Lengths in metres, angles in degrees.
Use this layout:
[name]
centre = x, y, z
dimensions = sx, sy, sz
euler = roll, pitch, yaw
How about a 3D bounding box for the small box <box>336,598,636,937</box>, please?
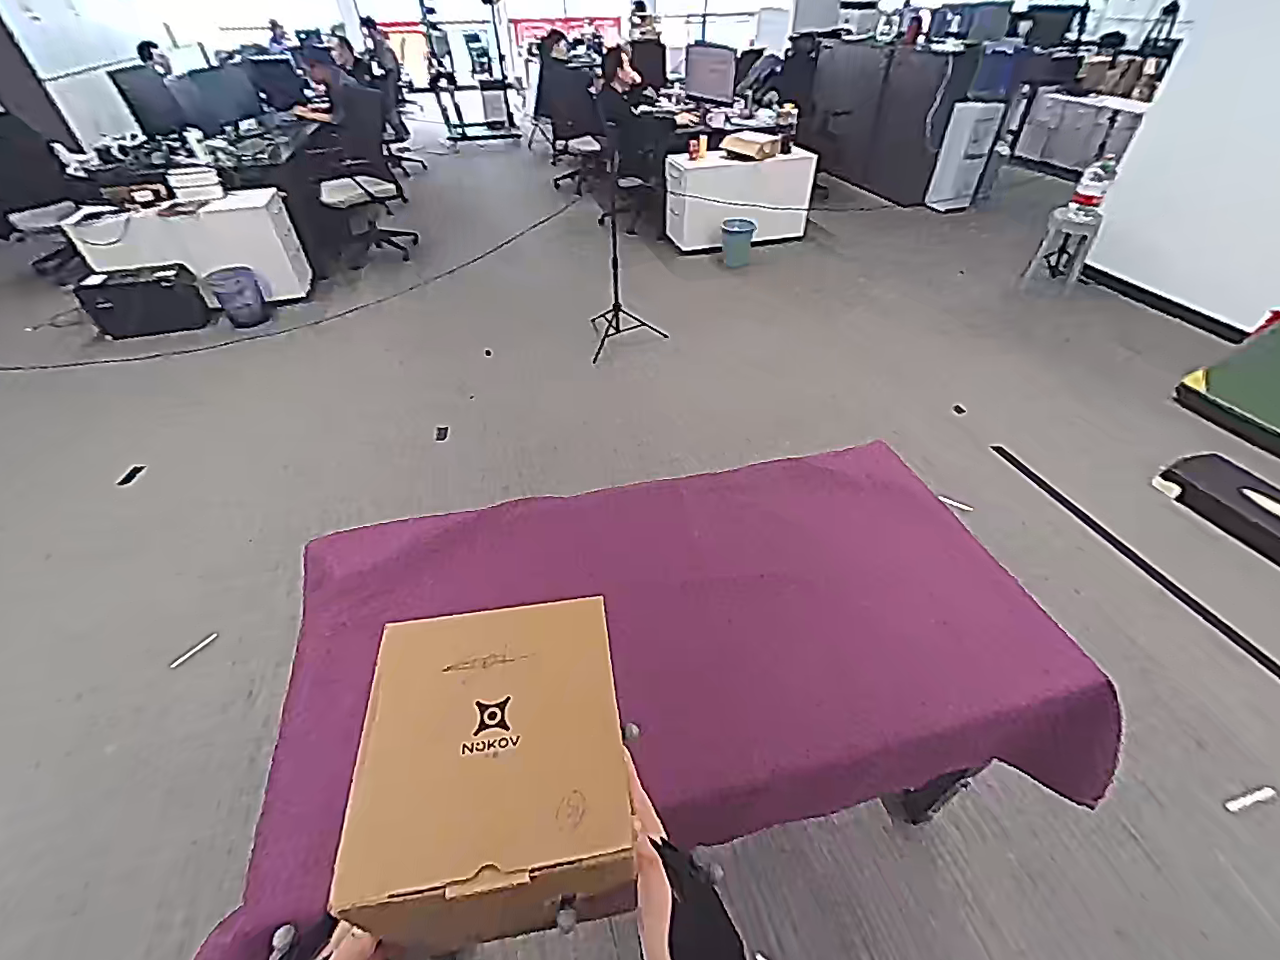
[small box]
centre = -0.094, 0.217, 0.408
dimensions = 0.168, 0.176, 0.179
euler = -5, 43, -7
